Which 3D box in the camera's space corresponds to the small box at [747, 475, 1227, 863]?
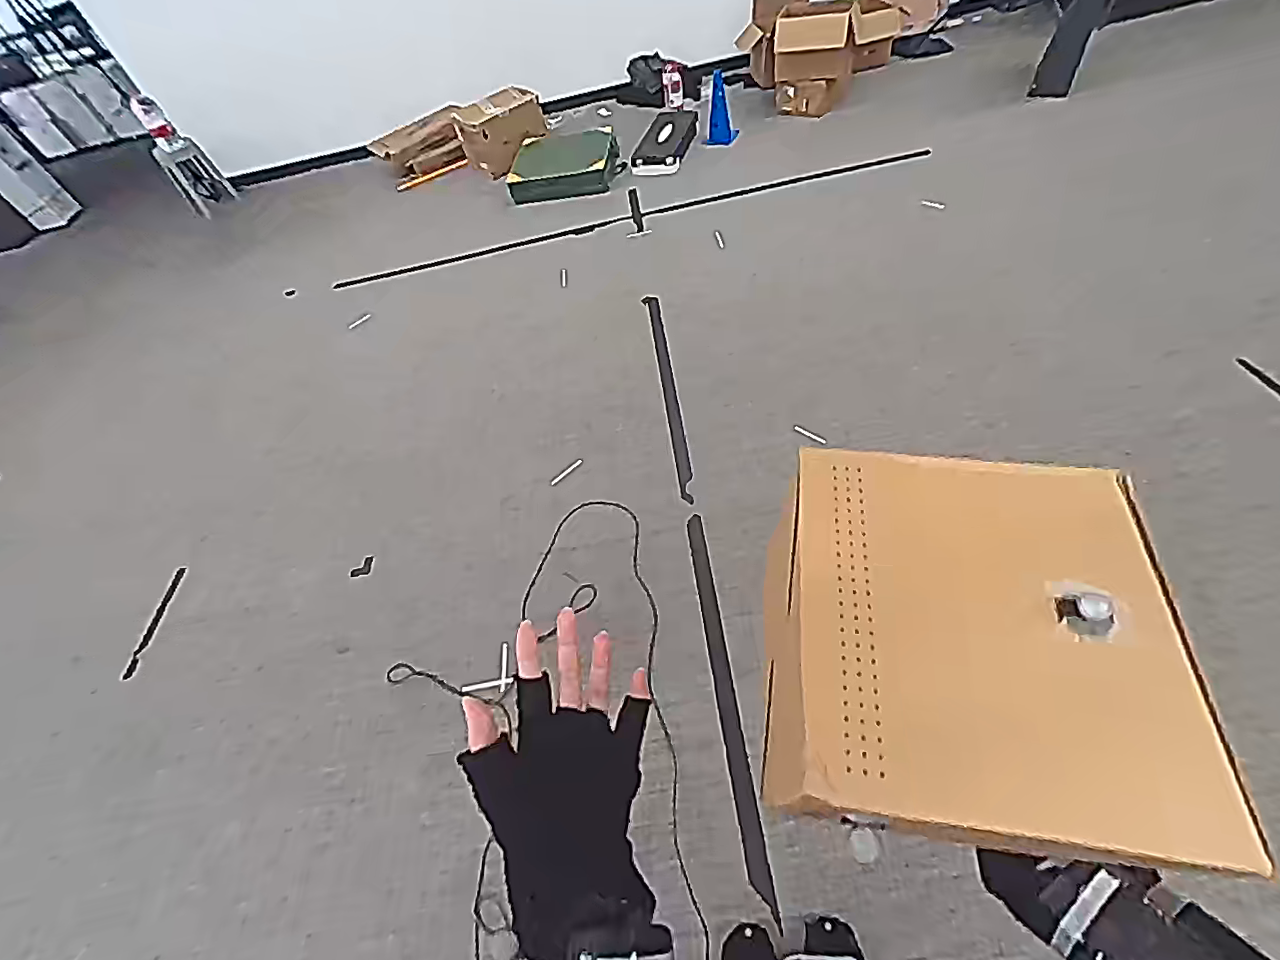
[{"bbox_3d":[0.158,0.110,0.325,0.176,0.168,0.179,4,58,9],"label":"small box"}]
